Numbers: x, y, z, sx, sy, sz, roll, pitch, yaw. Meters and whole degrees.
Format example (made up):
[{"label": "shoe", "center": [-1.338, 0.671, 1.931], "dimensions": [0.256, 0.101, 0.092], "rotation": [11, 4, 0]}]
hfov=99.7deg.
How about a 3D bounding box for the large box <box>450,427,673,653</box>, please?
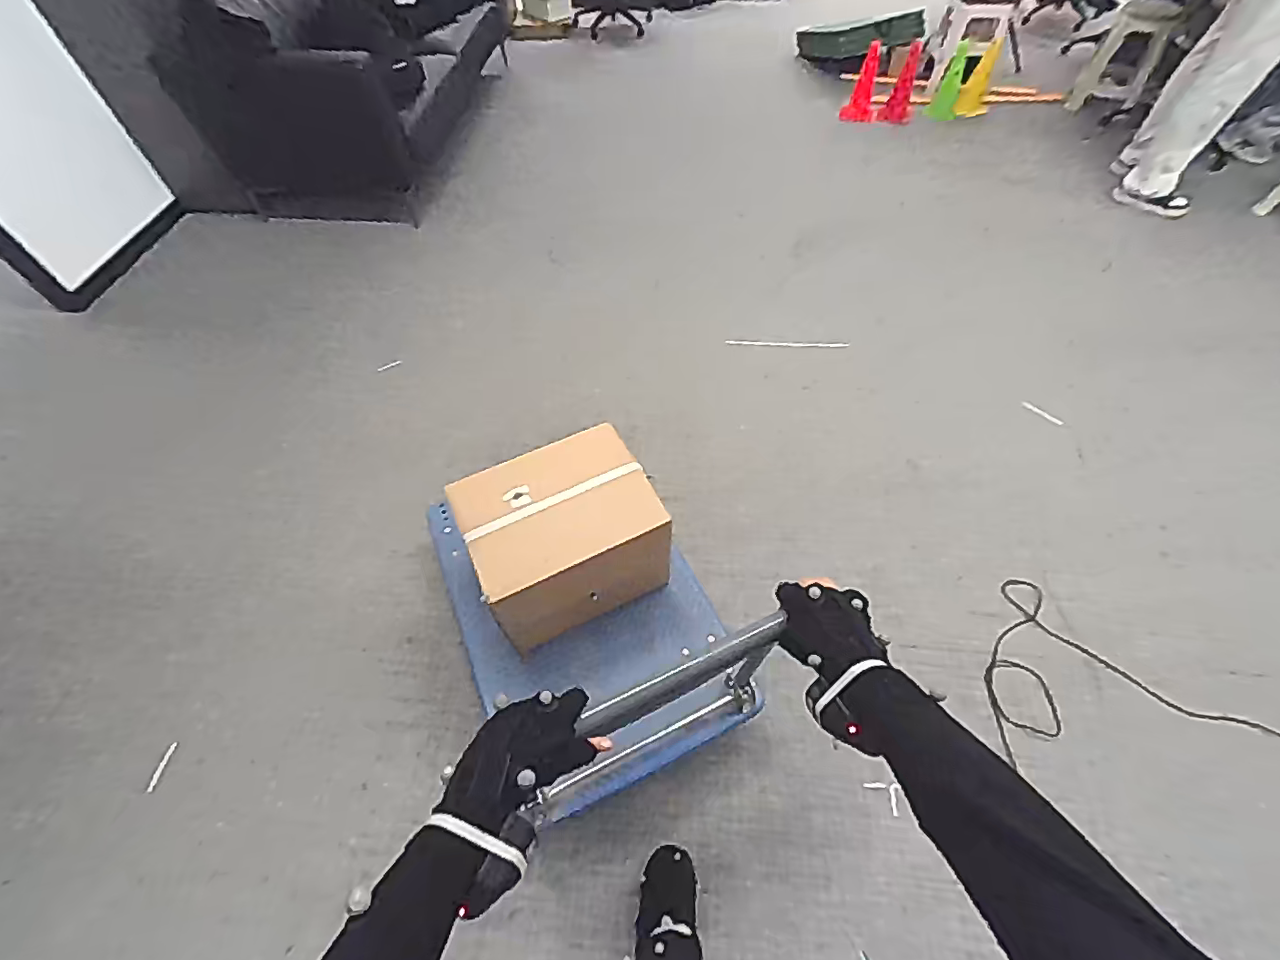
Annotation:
[{"label": "large box", "center": [-0.169, 0.145, 1.284], "dimensions": [0.408, 0.320, 0.320], "rotation": [-25, 57, -14]}]
